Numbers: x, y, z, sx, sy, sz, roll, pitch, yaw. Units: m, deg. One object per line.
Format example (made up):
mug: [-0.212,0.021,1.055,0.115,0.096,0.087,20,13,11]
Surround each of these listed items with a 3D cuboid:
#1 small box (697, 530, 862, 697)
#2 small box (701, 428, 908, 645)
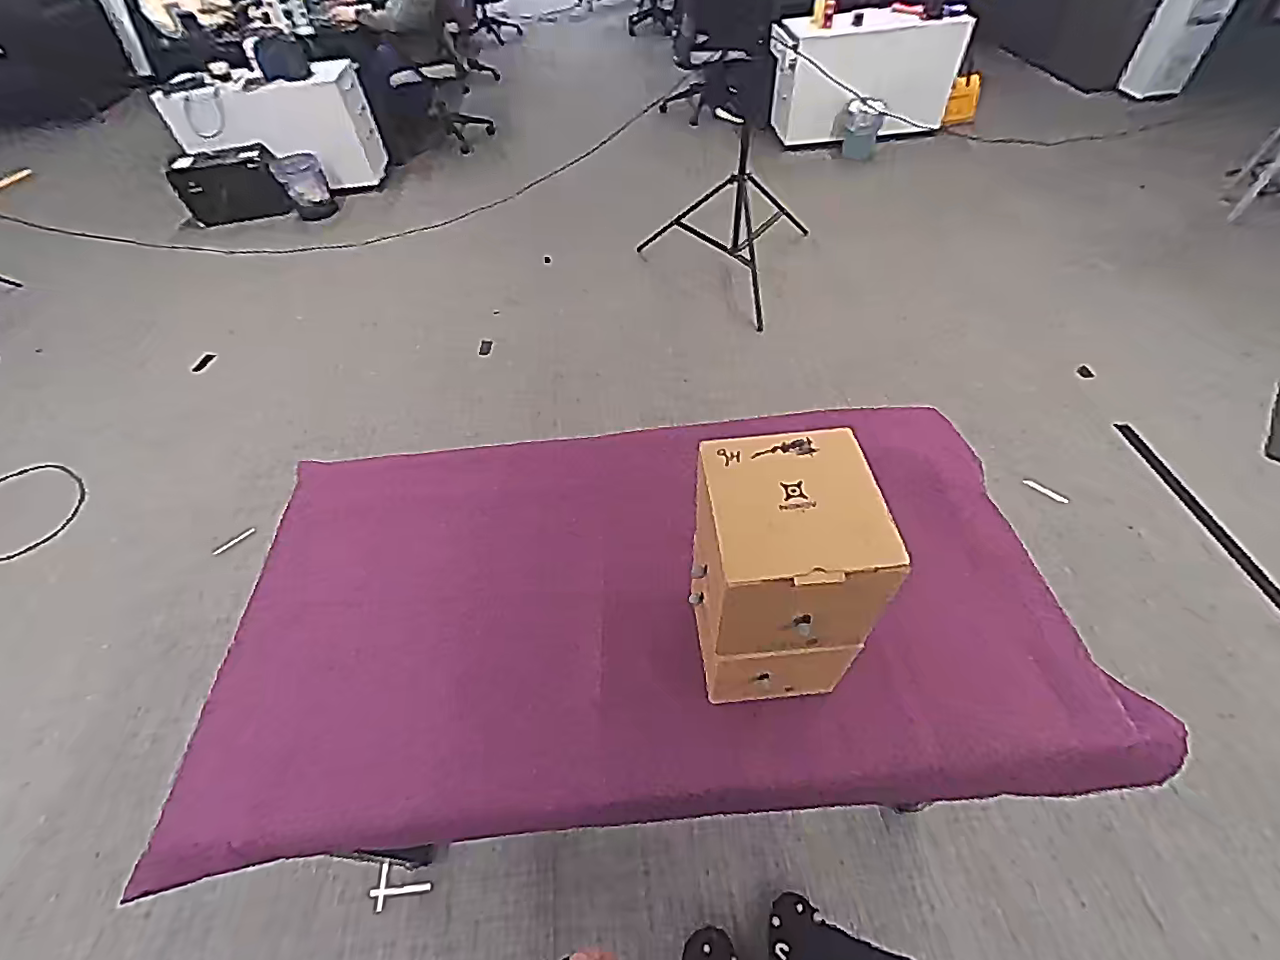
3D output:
small box: [0.167,0.175,0.713,0.168,0.176,0.179,-6,51,0]
small box: [0.158,0.069,0.588,0.168,0.176,0.179,-5,51,1]
